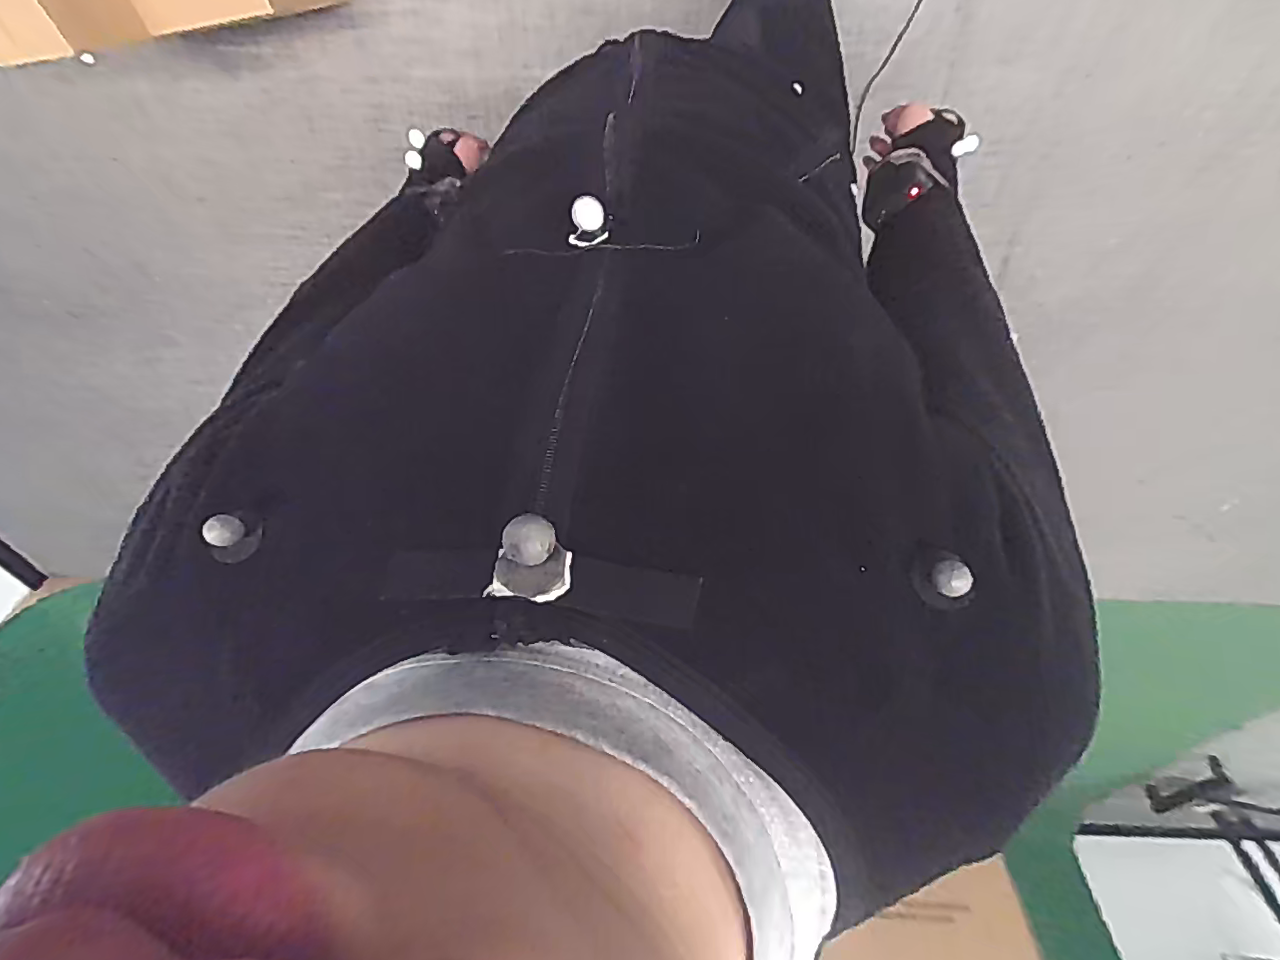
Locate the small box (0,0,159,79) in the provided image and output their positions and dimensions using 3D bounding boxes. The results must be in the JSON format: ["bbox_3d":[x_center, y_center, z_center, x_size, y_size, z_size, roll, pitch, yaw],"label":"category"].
[{"bbox_3d":[-0.893,-0.725,0.802,0.168,0.176,0.179,-3,136,6],"label":"small box"}]
